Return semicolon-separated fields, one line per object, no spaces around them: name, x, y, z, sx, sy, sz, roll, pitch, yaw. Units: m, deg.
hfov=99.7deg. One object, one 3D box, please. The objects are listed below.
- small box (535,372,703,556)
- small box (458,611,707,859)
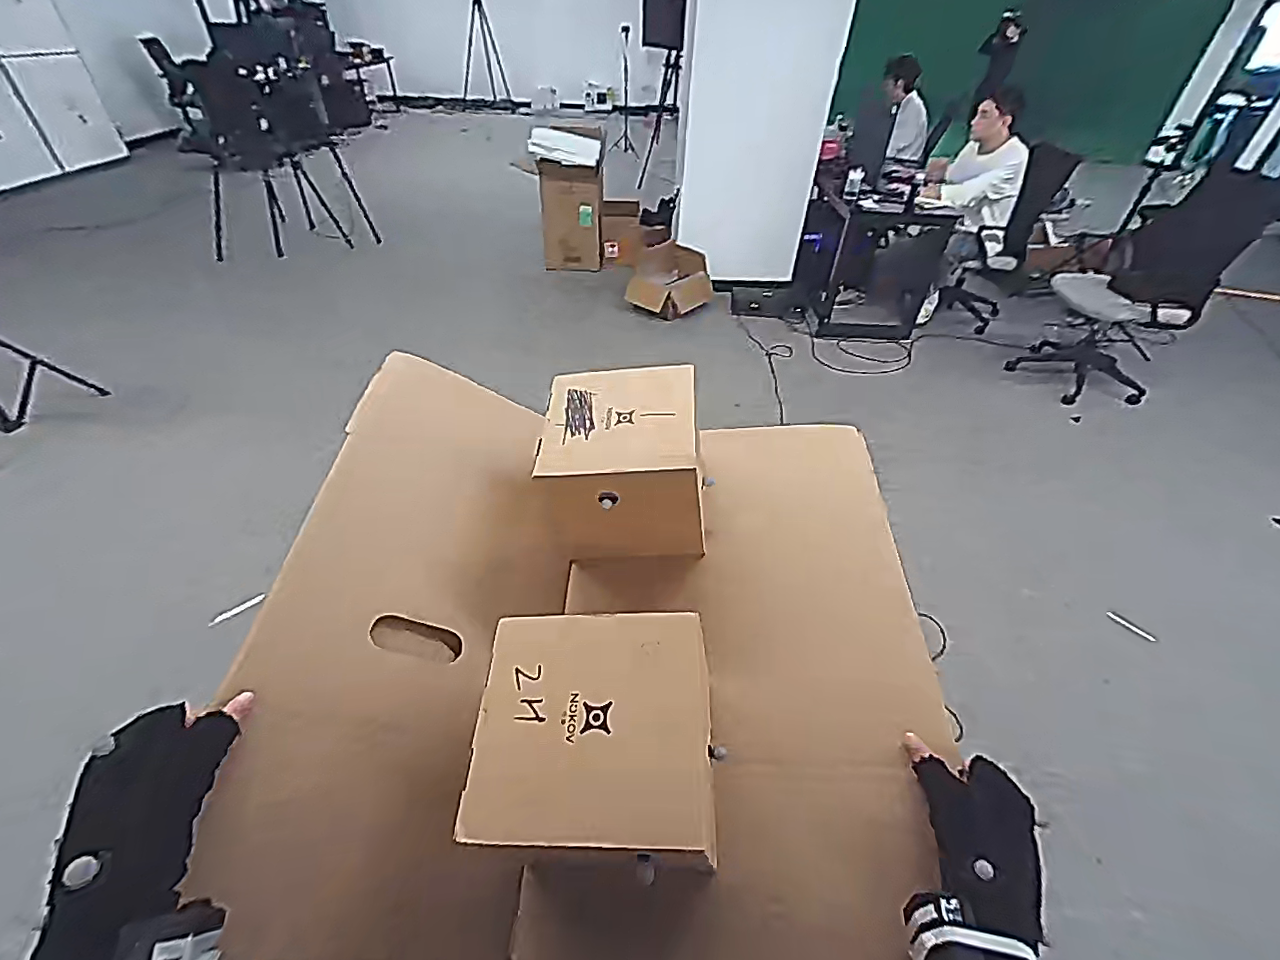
small box;-0.013;-0.015;0.685;0.179;0.176;0.168;-2;51;8
small box;-0.029;0.230;0.485;0.179;0.176;0.168;-3;50;9
